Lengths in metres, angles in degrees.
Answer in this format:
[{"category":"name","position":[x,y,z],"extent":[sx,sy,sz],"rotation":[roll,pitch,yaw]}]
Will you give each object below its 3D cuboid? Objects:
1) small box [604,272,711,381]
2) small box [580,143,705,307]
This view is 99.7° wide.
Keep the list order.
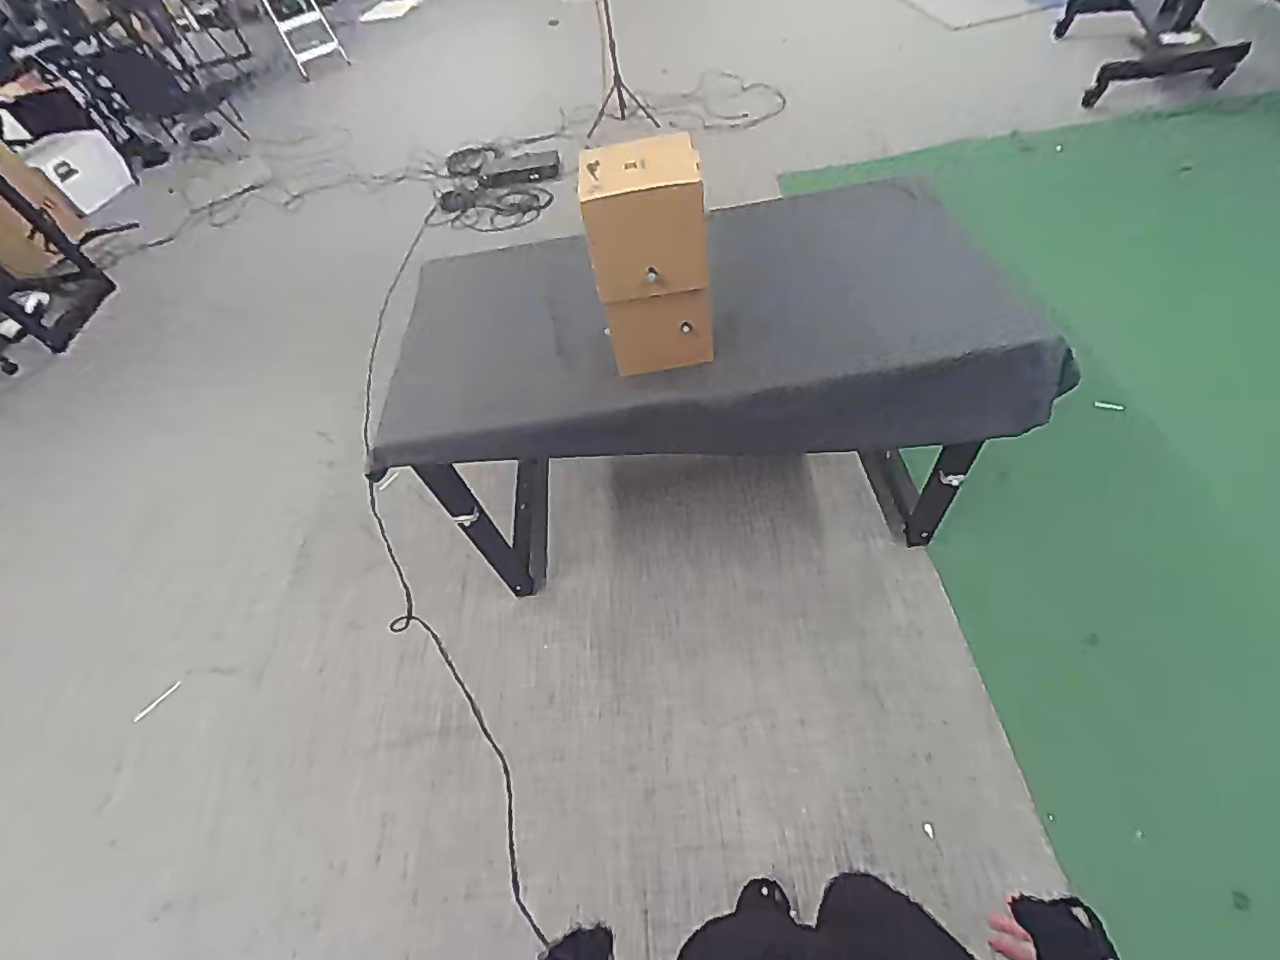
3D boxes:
[{"category":"small box","position":[0.033,-0.307,0.991],"extent":[0.179,0.176,0.168],"rotation":[-11,51,4]},{"category":"small box","position":[0.009,-0.399,0.857],"extent":[0.179,0.176,0.168],"rotation":[-7,51,4]}]
